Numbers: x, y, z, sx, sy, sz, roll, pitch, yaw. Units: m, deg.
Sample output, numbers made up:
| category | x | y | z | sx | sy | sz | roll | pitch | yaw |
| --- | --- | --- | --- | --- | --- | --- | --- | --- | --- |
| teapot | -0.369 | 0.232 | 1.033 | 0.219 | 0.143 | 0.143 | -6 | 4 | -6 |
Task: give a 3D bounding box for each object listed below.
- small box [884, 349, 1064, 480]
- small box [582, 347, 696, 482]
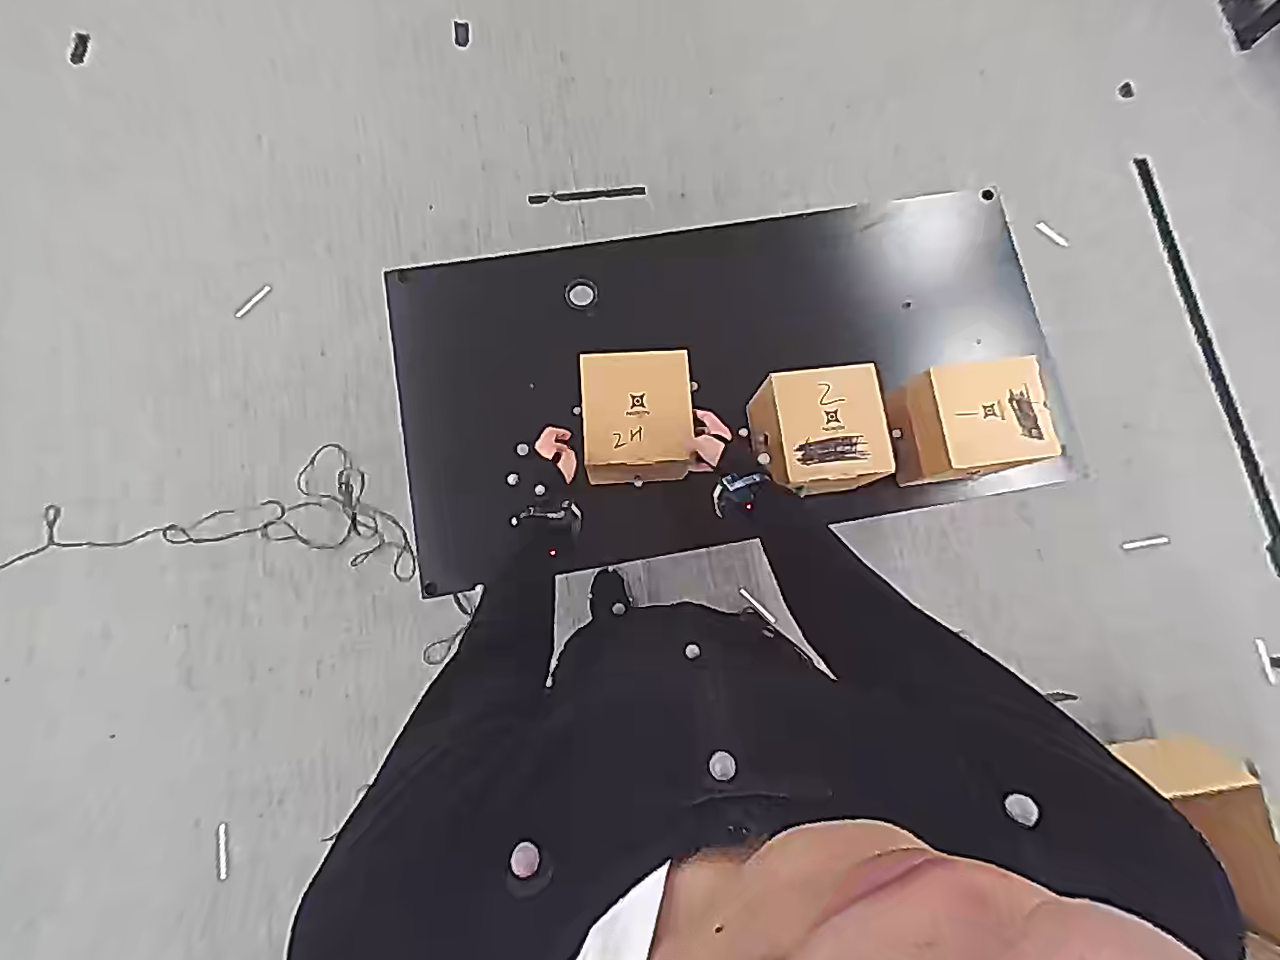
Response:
| category | x | y | z | sx | sy | sz | roll | pitch | yaw |
| --- | --- | --- | --- | --- | --- | --- | --- | --- | --- |
| small box | 0.540 | -0.100 | 0.898 | 0.179 | 0.176 | 0.168 | -8 | 80 | -2 |
| small box | -0.006 | -0.100 | 0.880 | 0.168 | 0.176 | 0.179 | -3 | 81 | -2 |
